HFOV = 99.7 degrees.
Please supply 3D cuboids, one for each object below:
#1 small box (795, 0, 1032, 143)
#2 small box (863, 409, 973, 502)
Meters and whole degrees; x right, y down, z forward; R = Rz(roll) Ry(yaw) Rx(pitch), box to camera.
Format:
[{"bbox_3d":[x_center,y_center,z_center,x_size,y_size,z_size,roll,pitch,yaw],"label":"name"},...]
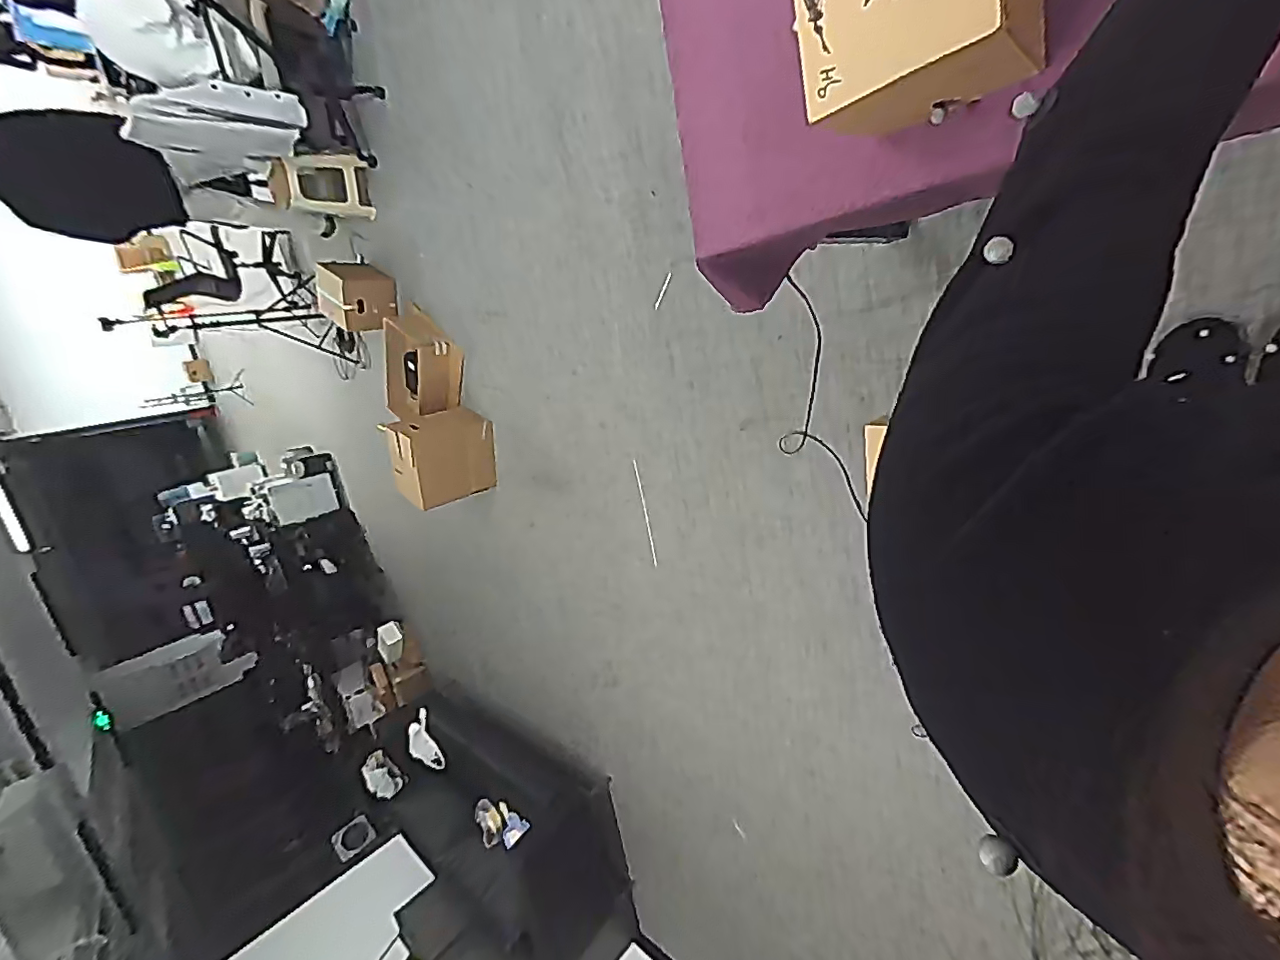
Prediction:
[{"bbox_3d":[0.278,-0.469,0.544,0.179,0.176,0.168,1,107,45],"label":"small box"},{"bbox_3d":[0.625,-0.063,1.216,0.179,0.176,0.168,7,112,44],"label":"small box"}]
